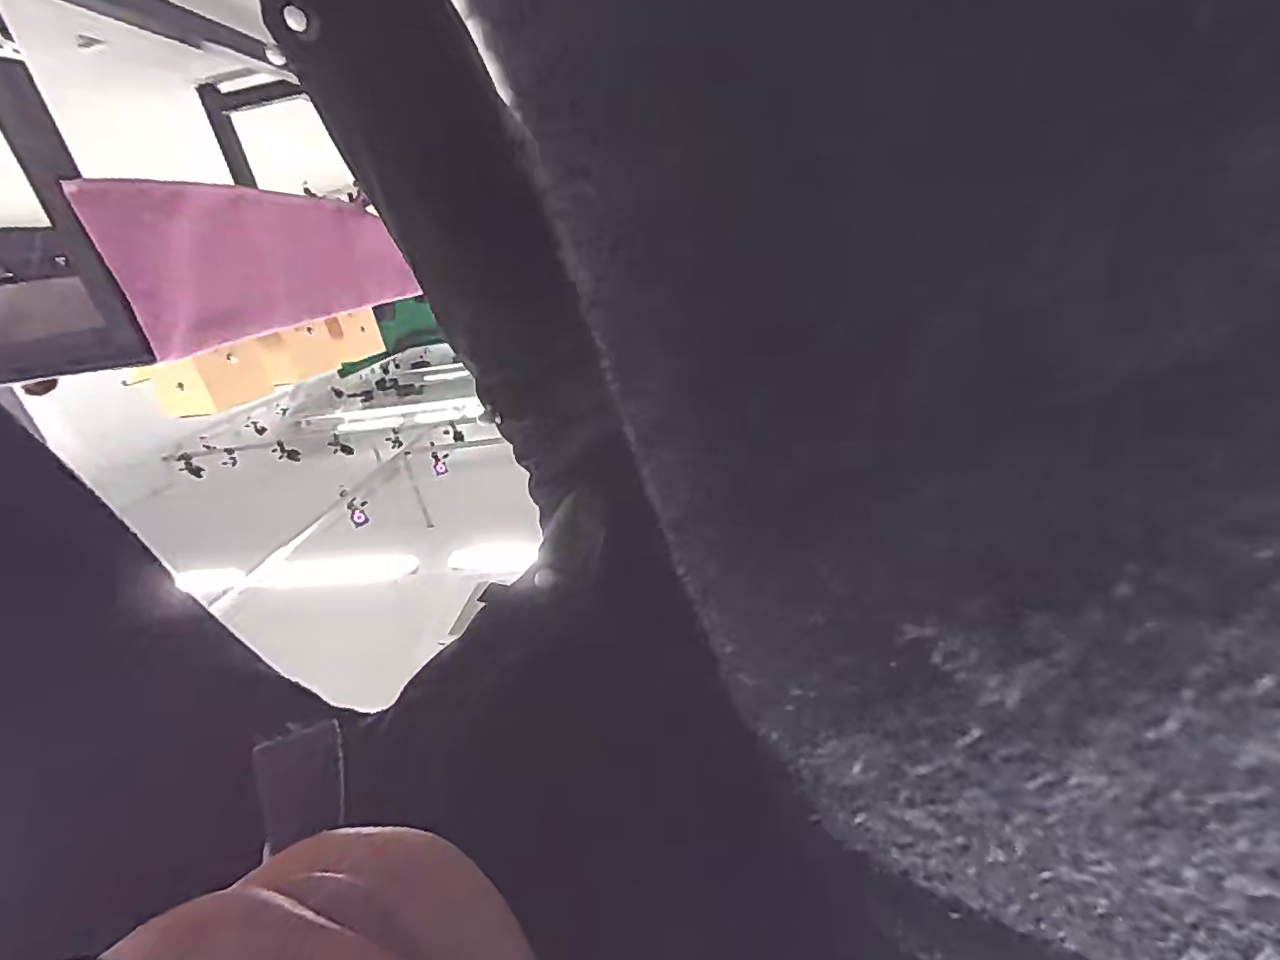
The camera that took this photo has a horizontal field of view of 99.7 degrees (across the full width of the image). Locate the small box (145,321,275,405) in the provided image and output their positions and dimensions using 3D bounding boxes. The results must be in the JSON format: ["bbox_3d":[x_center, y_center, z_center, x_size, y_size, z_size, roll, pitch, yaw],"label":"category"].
[{"bbox_3d":[-1.075,-0.296,1.351,0.179,0.176,0.168,0,-153,20],"label":"small box"}]
